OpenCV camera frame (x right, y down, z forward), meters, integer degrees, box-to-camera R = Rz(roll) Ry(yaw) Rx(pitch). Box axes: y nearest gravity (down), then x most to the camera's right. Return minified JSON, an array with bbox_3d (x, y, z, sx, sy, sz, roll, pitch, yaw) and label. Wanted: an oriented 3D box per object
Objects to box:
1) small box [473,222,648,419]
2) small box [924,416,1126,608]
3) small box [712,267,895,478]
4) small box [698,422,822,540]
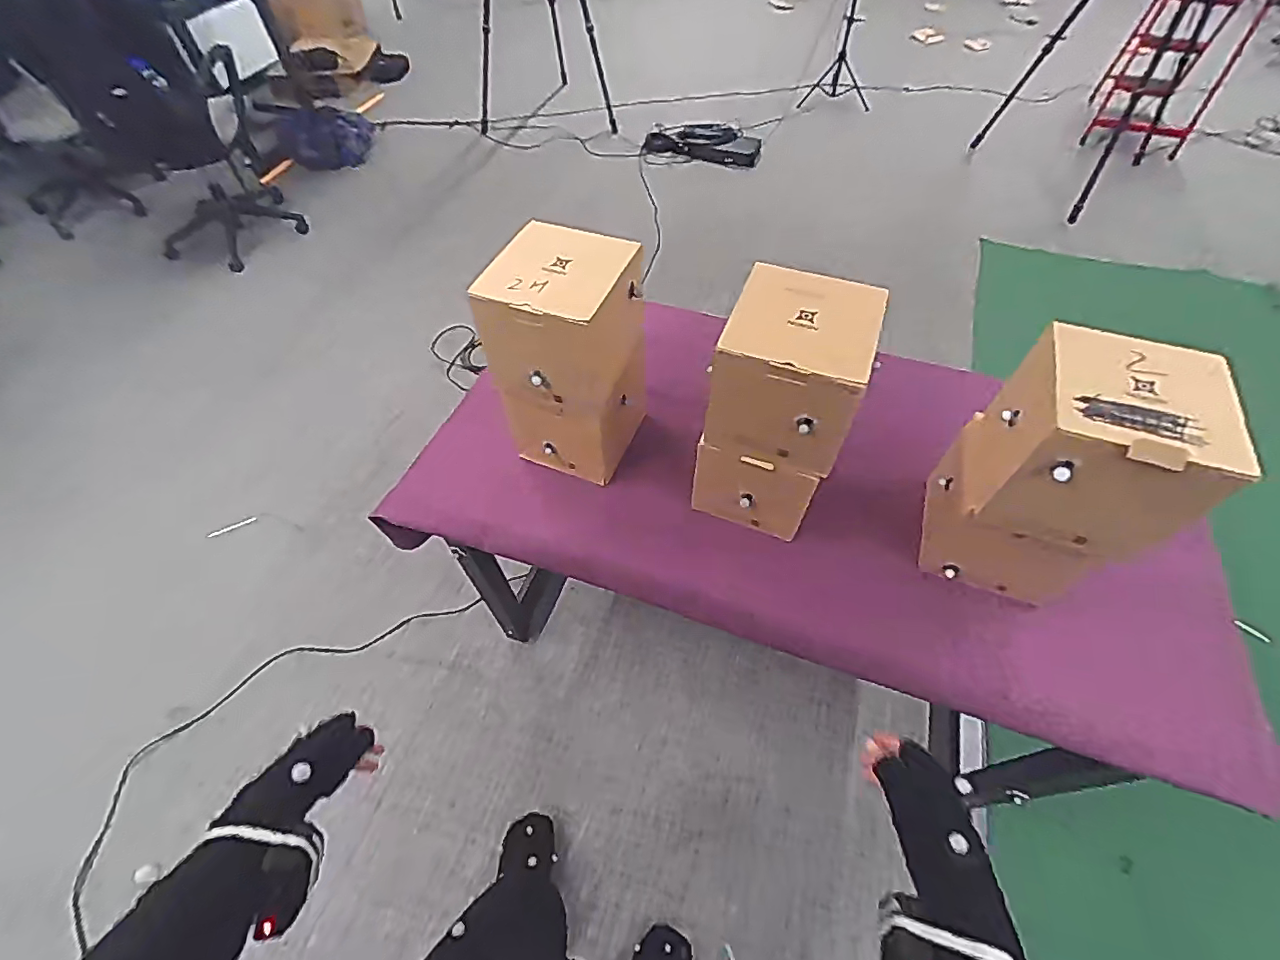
[{"bbox_3d":[-0.097,-0.217,0.743,0.168,0.176,0.179,18,58,13],"label":"small box"},{"bbox_3d":[0.514,0.050,0.741,0.168,0.176,0.179,21,58,13],"label":"small box"},{"bbox_3d":[0.194,-0.130,0.677,0.168,0.176,0.179,19,57,13],"label":"small box"},{"bbox_3d":[0.190,-0.036,0.811,0.168,0.176,0.179,19,58,14],"label":"small box"}]
